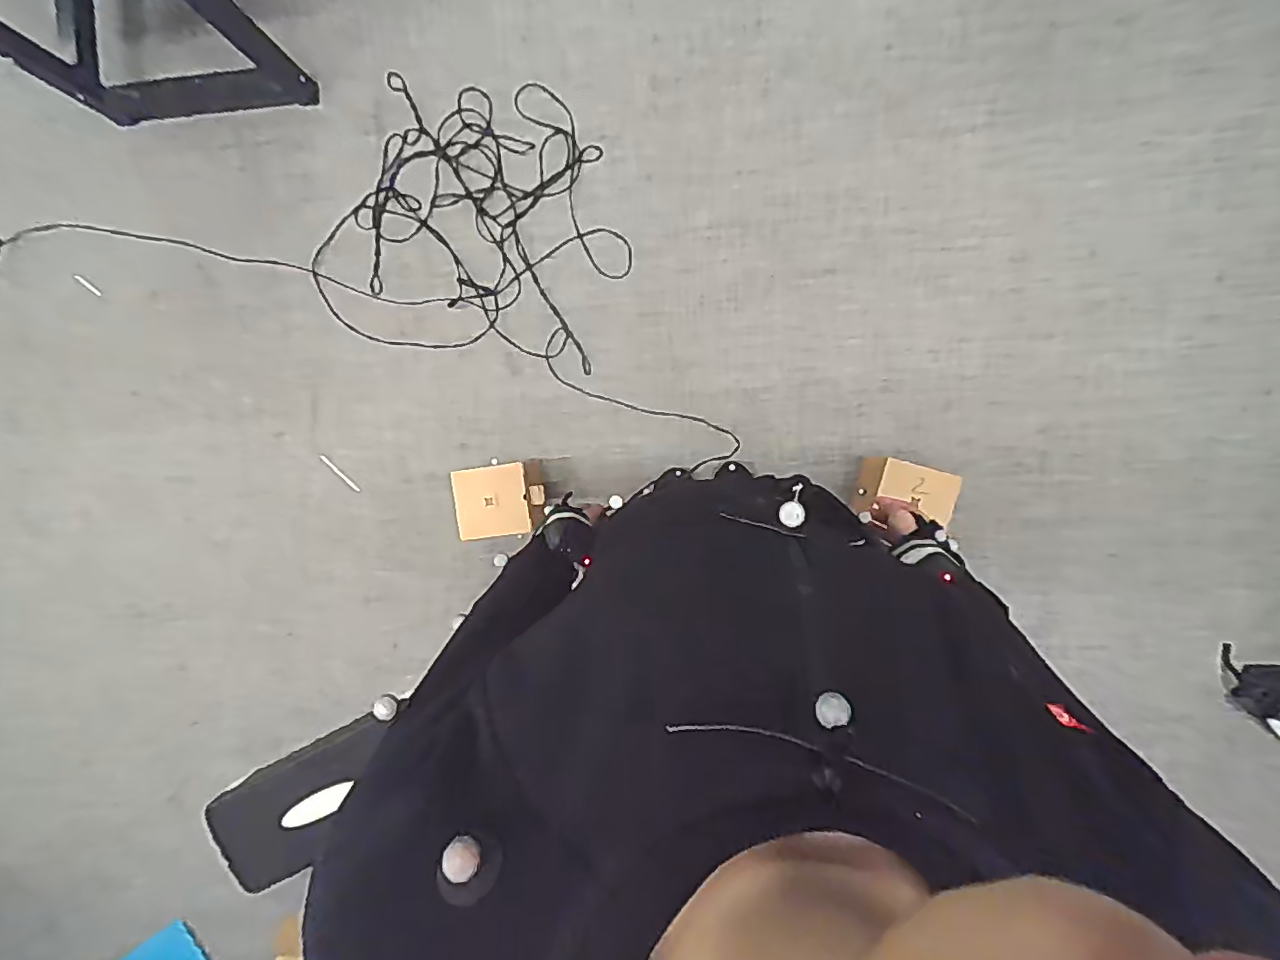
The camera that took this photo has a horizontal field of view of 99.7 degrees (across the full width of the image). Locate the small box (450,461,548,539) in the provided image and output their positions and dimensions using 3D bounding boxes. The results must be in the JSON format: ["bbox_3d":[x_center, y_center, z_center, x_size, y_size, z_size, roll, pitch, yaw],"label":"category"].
[{"bbox_3d":[-0.337,0.046,1.318,0.179,0.176,0.168,-8,91,4],"label":"small box"}]
